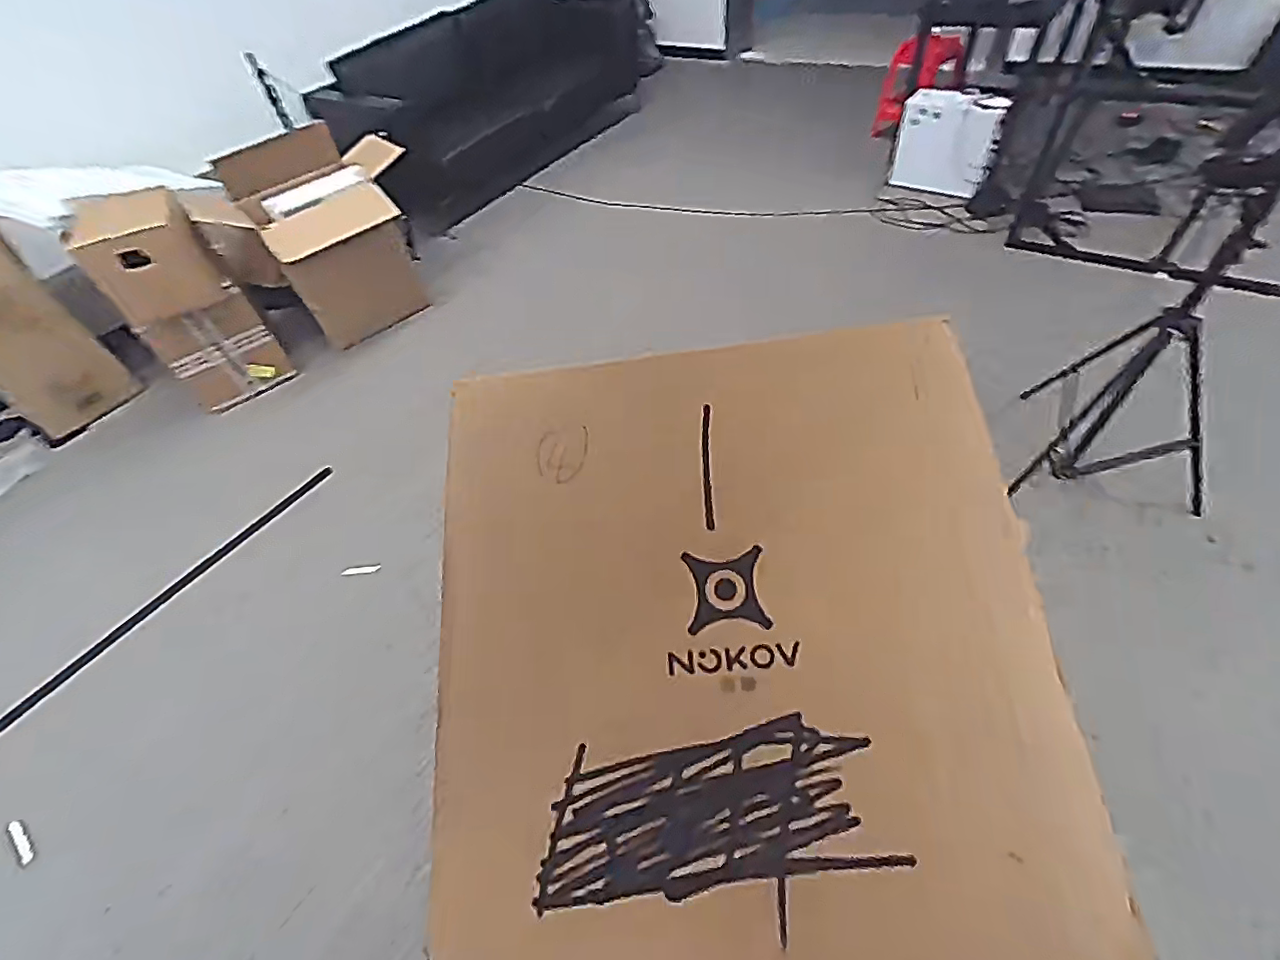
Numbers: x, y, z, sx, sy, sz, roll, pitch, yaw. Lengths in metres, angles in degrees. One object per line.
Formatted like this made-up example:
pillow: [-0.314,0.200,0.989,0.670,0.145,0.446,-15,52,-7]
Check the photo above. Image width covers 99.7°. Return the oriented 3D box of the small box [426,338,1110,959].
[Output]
small box: [0.030,0.069,0.229,0.168,0.176,0.179,-7,71,4]
